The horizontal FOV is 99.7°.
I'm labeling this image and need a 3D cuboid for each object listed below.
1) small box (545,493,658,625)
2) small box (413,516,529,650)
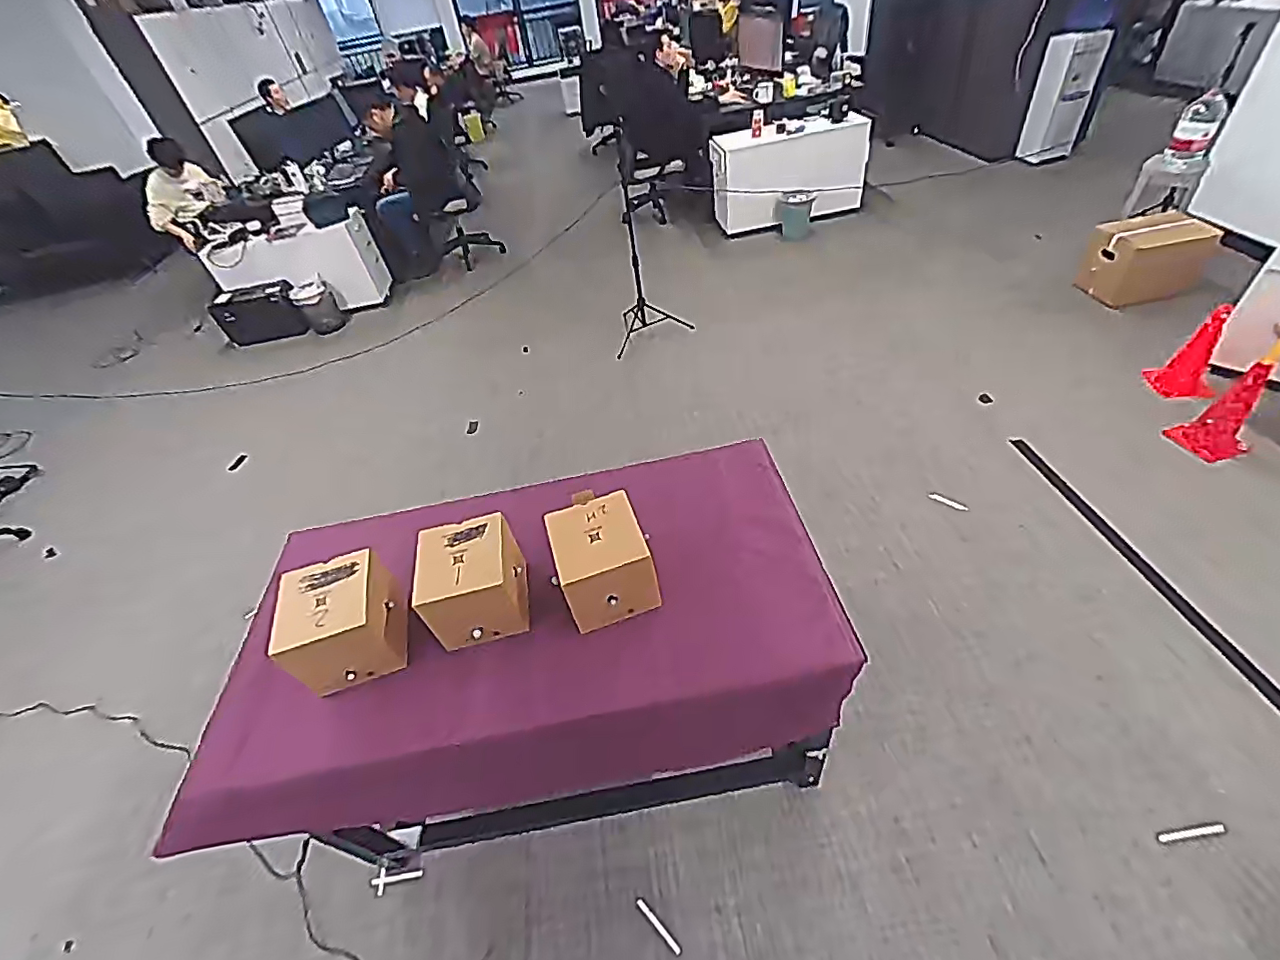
[{"bbox_3d":[-0.072,0.160,1.052,0.168,0.176,0.179,-18,44,-7],"label":"small box"},{"bbox_3d":[-0.322,0.202,1.061,0.168,0.176,0.179,-14,45,-3],"label":"small box"}]
